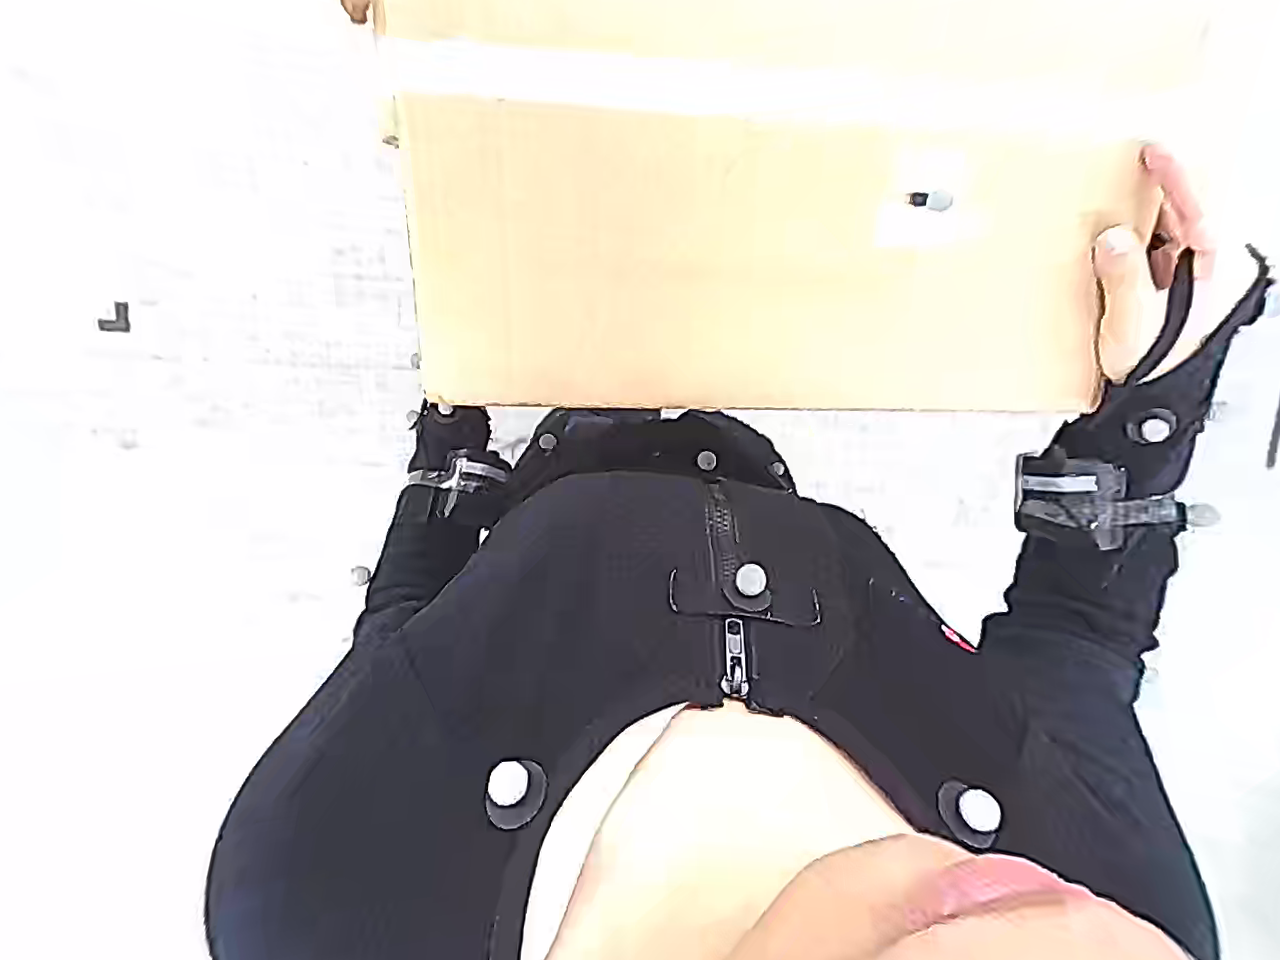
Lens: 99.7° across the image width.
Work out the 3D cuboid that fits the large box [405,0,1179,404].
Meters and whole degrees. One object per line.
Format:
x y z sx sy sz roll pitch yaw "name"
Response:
0.067 -0.239 0.424 0.408 0.320 0.320 -1 108 -7 "large box"
